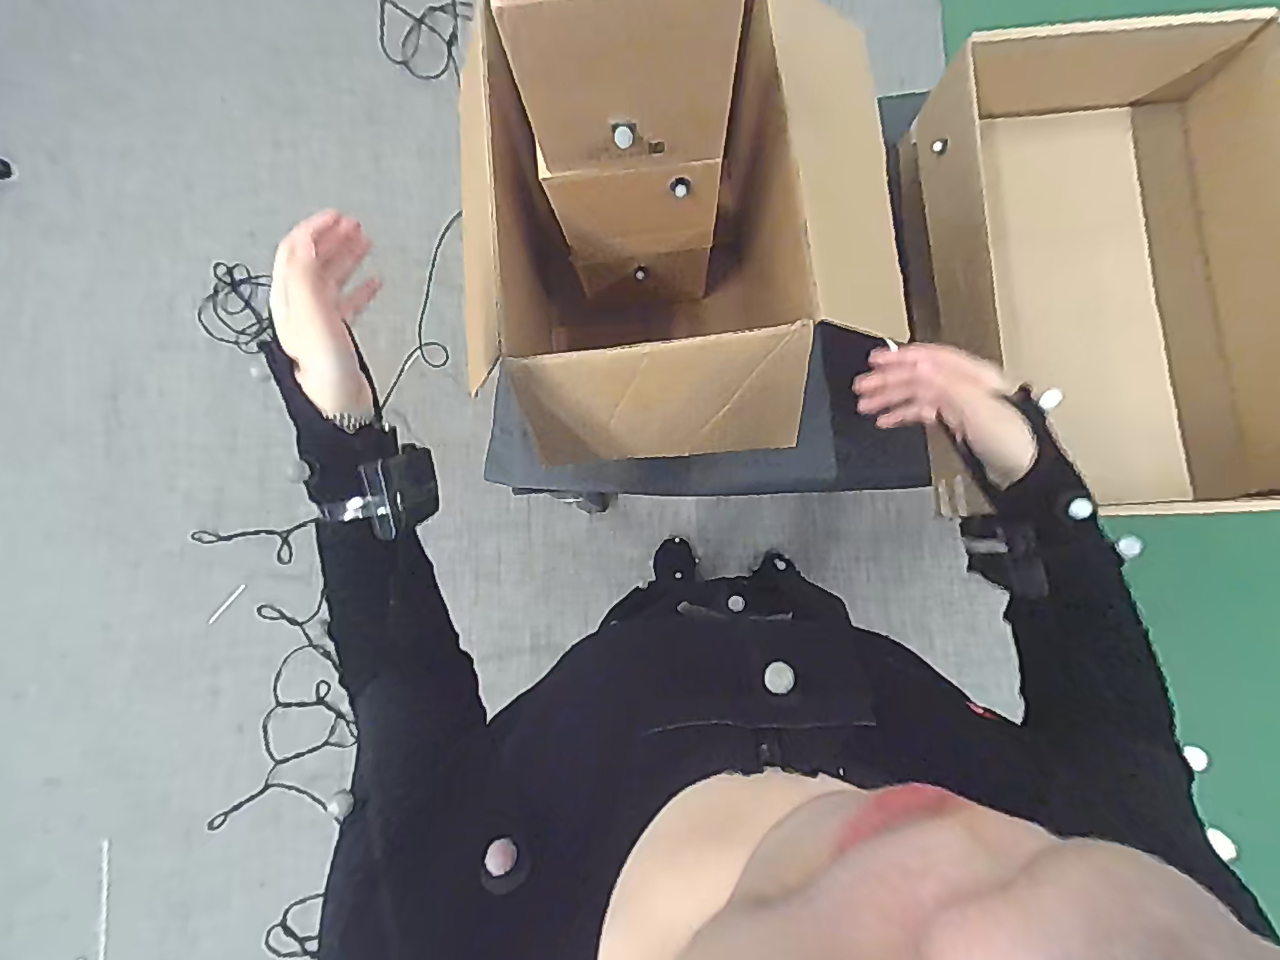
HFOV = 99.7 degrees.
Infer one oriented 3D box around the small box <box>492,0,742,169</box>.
[{"bbox_3d":[-0.015,-0.386,0.429,0.168,0.176,0.179,-3,87,3],"label":"small box"}]
